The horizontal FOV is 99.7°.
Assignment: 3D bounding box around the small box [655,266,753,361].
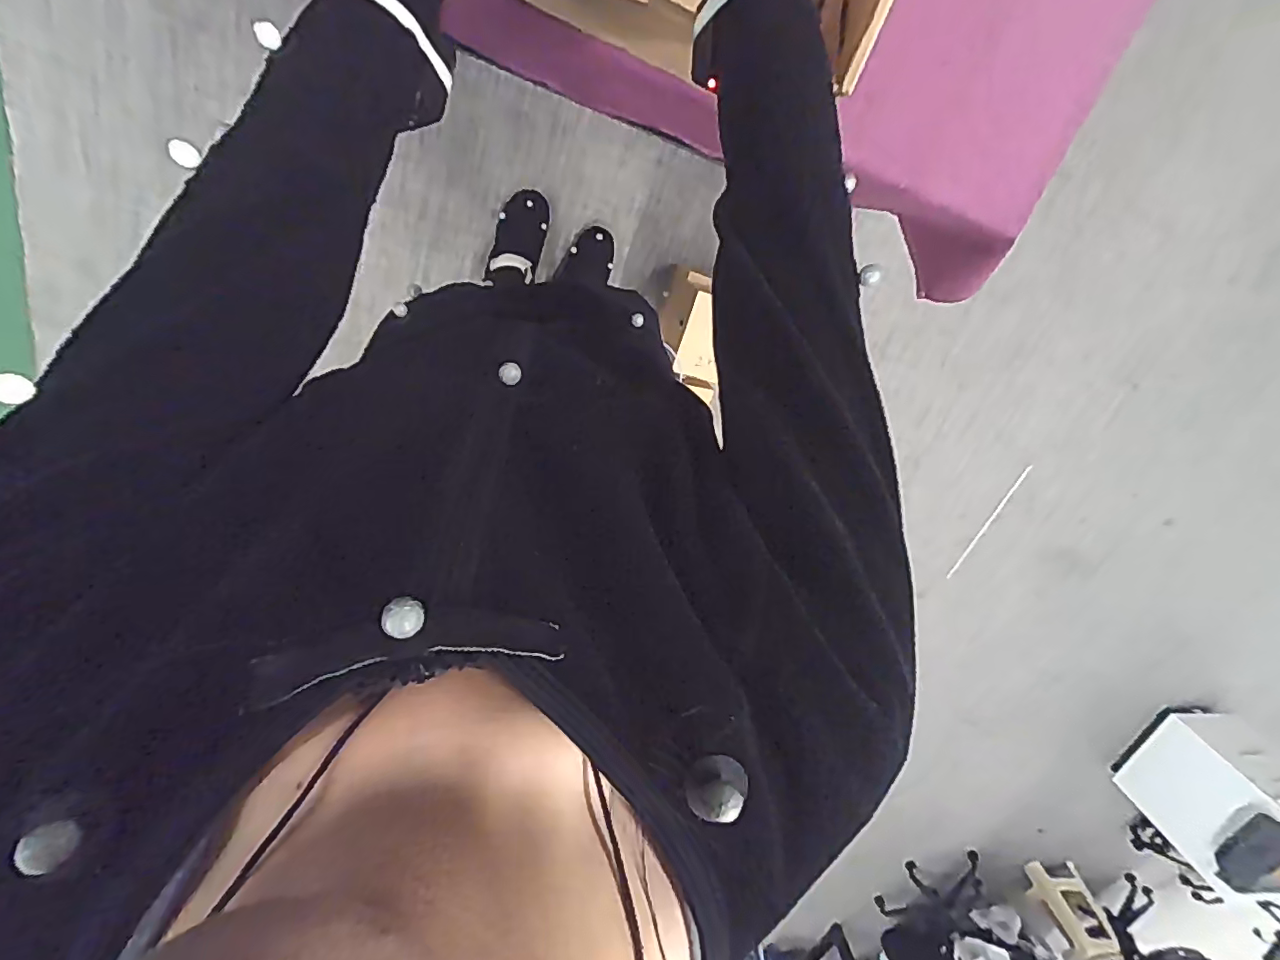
[{"bbox_3d":[0.151,-0.419,1.348,0.179,0.176,0.168,14,115,-14],"label":"small box"}]
